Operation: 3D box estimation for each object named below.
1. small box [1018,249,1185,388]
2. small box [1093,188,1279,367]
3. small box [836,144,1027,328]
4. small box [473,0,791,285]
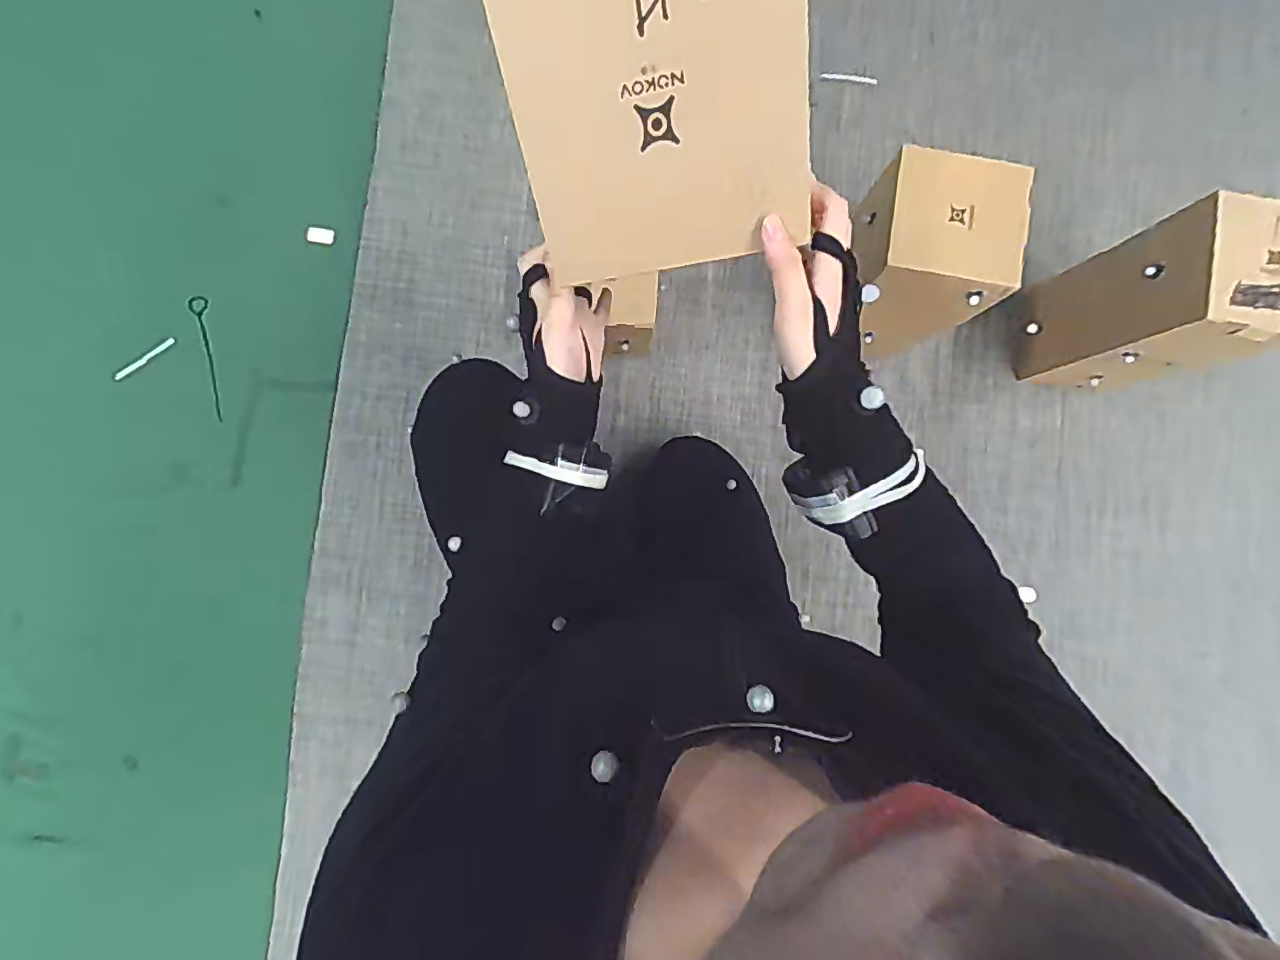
[{"bbox_3d":[0.796,-0.268,0.938,0.168,0.176,0.179,8,87,-2],"label":"small box"},{"bbox_3d":[0.799,-0.274,0.773,0.168,0.176,0.179,9,85,-1],"label":"small box"},{"bbox_3d":[0.398,-0.331,0.766,0.179,0.176,0.168,9,86,-1],"label":"small box"},{"bbox_3d":[0.010,-0.253,0.372,0.168,0.176,0.179,-6,121,10],"label":"small box"}]
